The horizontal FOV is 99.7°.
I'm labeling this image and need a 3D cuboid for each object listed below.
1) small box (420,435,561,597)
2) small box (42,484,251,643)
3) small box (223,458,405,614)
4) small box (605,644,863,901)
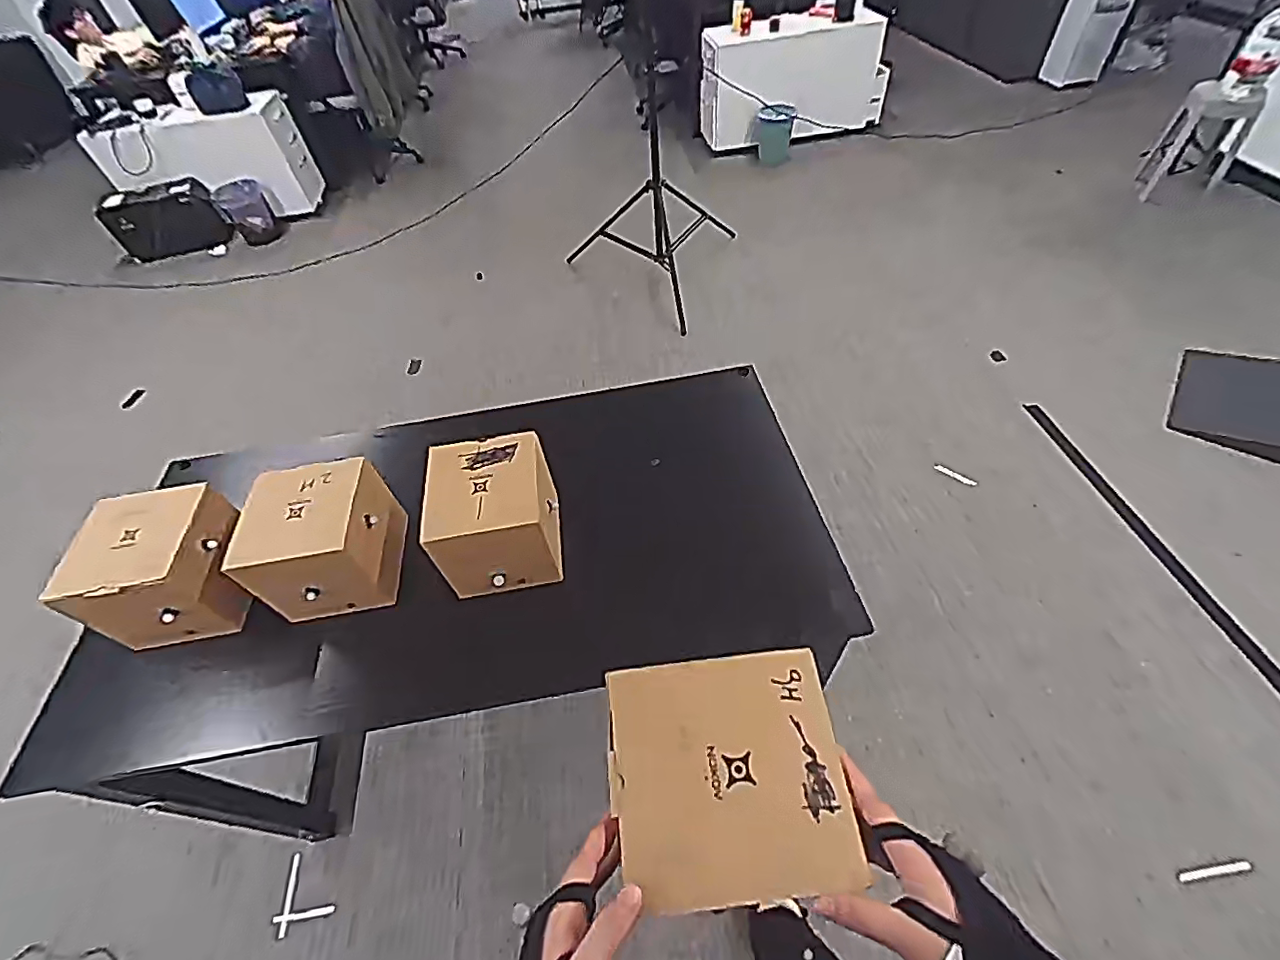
[{"bbox_3d":[-0.221,0.058,0.841,0.168,0.176,0.179,-10,51,-2],"label":"small box"},{"bbox_3d":[-0.720,0.135,0.833,0.168,0.176,0.179,-10,50,-3],"label":"small box"},{"bbox_3d":[-0.484,0.094,0.839,0.168,0.176,0.179,-9,50,-2],"label":"small box"},{"bbox_3d":[0.068,0.258,0.484,0.179,0.176,0.168,-6,59,-1],"label":"small box"}]
